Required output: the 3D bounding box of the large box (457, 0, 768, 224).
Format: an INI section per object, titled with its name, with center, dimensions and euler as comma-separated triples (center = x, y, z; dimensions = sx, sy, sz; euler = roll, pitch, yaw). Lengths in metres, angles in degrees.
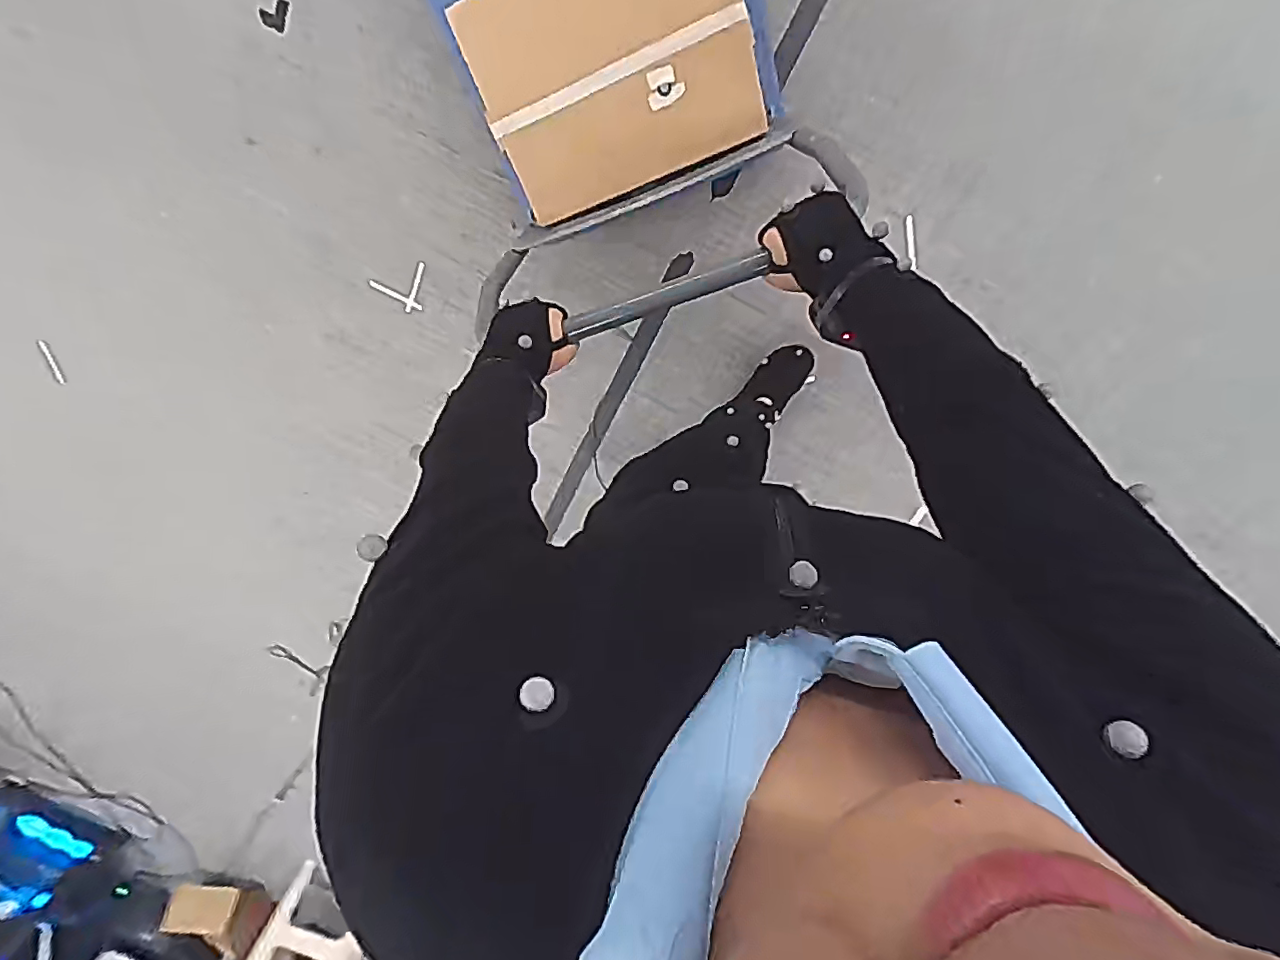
[large box]
center = -0.032, -0.704, 0.951
dimensions = 0.408, 0.320, 0.320
euler = -18, 122, 13
